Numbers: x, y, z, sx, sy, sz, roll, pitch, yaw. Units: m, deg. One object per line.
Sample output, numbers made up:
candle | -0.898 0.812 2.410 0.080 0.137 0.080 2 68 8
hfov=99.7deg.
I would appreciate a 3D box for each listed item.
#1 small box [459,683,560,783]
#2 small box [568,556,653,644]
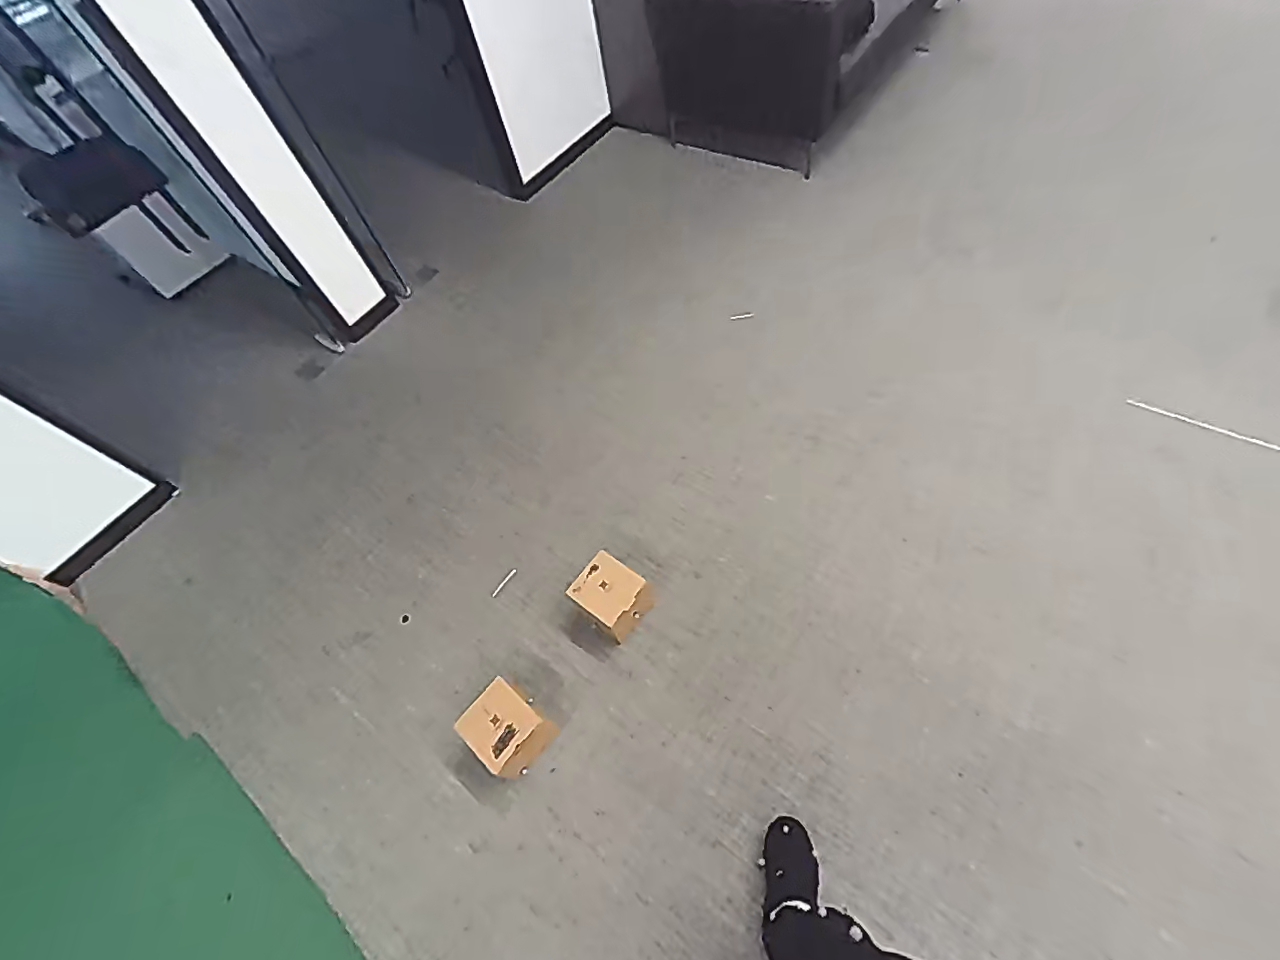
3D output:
small box | -0.340 0.681 1.447 0.179 0.176 0.168 34 68 27
small box | -0.079 0.359 1.586 0.179 0.176 0.168 31 67 25
